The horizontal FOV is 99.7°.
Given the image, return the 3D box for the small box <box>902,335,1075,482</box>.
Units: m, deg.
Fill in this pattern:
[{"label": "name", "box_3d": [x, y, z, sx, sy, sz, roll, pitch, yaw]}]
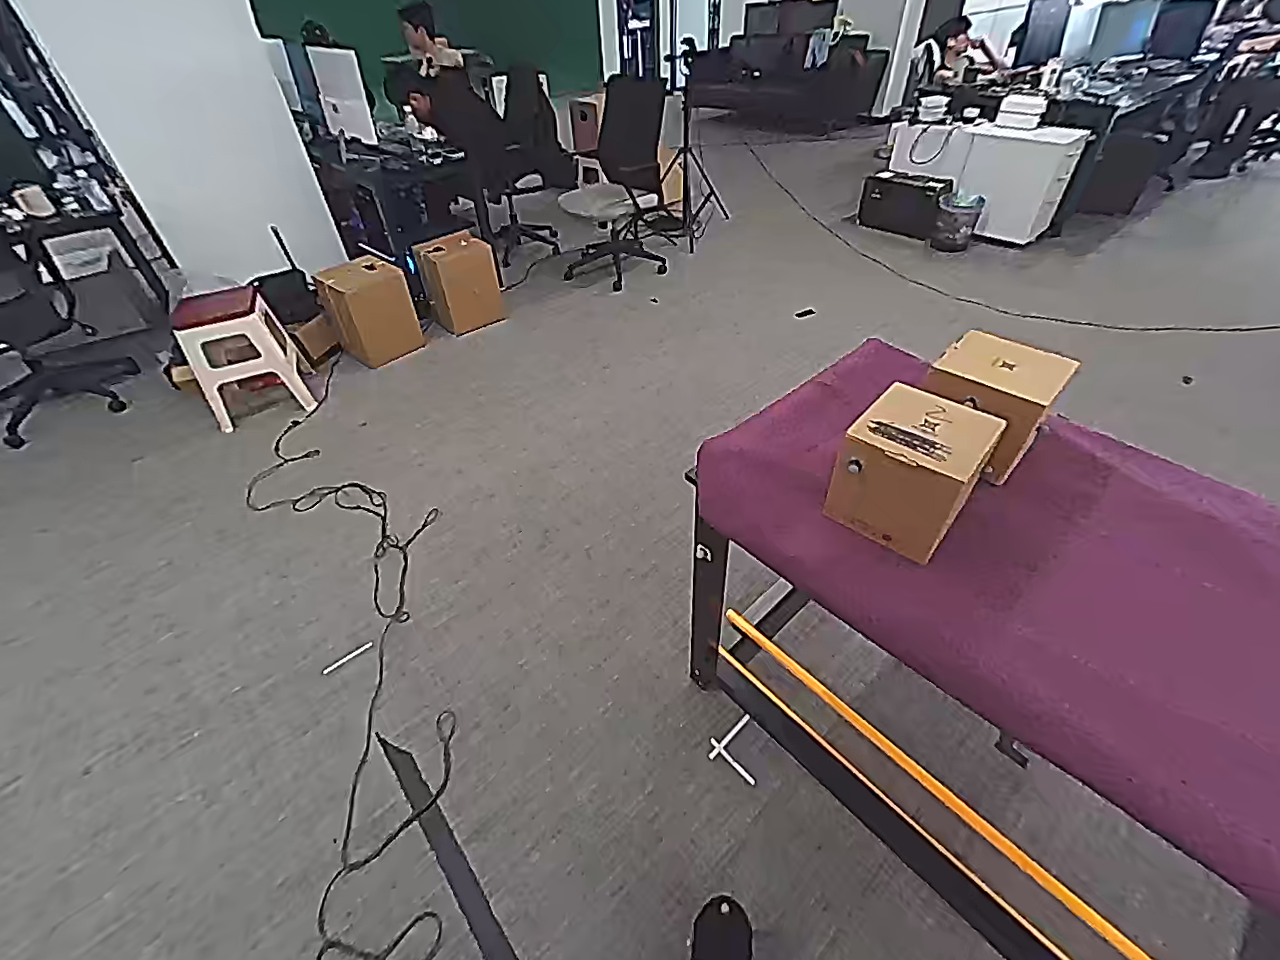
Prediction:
[{"label": "small box", "box_3d": [0.592, -0.120, 0.936, 0.179, 0.176, 0.168, 33, 53, 32]}]
